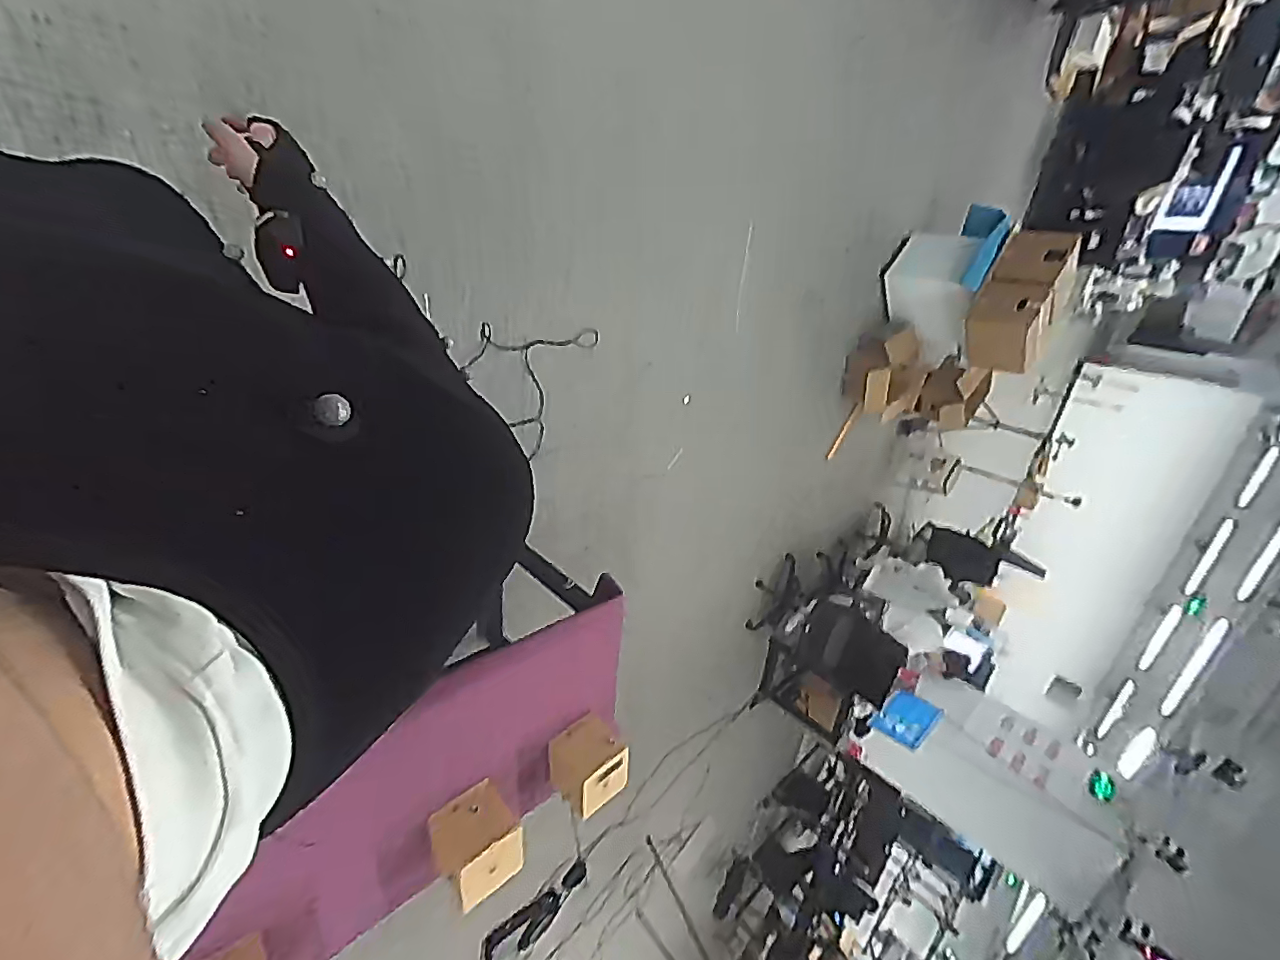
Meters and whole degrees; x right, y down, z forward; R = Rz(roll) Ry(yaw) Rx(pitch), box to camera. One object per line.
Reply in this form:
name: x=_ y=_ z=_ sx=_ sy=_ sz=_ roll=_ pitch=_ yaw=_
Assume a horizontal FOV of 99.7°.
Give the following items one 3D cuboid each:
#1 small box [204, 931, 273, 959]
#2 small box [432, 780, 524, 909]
small box: x=-0.785 y=1.026 z=1.026 sx=0.168 sy=0.176 sz=0.179 roll=-13 pitch=120 yaw=-43
small box: x=-0.408 y=0.910 z=1.366 sx=0.168 sy=0.176 sz=0.179 roll=-18 pitch=123 yaw=-39
